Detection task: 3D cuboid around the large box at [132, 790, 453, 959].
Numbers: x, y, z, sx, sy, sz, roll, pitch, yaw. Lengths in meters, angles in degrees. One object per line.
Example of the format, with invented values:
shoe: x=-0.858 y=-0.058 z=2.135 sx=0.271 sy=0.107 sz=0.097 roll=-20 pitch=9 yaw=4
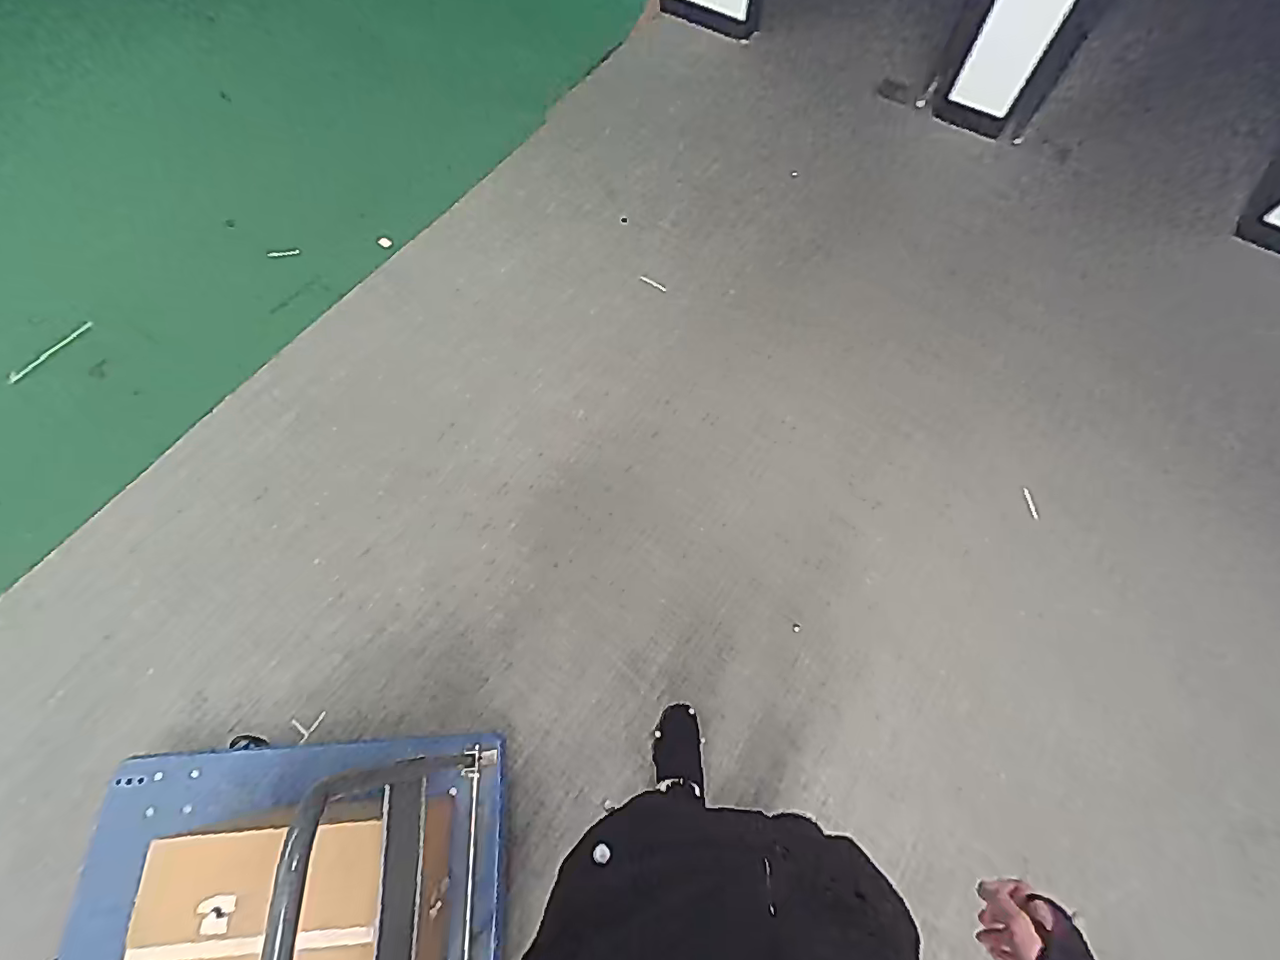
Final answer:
large box: x=-0.592 y=0.781 z=0.988 sx=0.408 sy=0.320 sz=0.320 roll=-5 pitch=67 yaw=0
